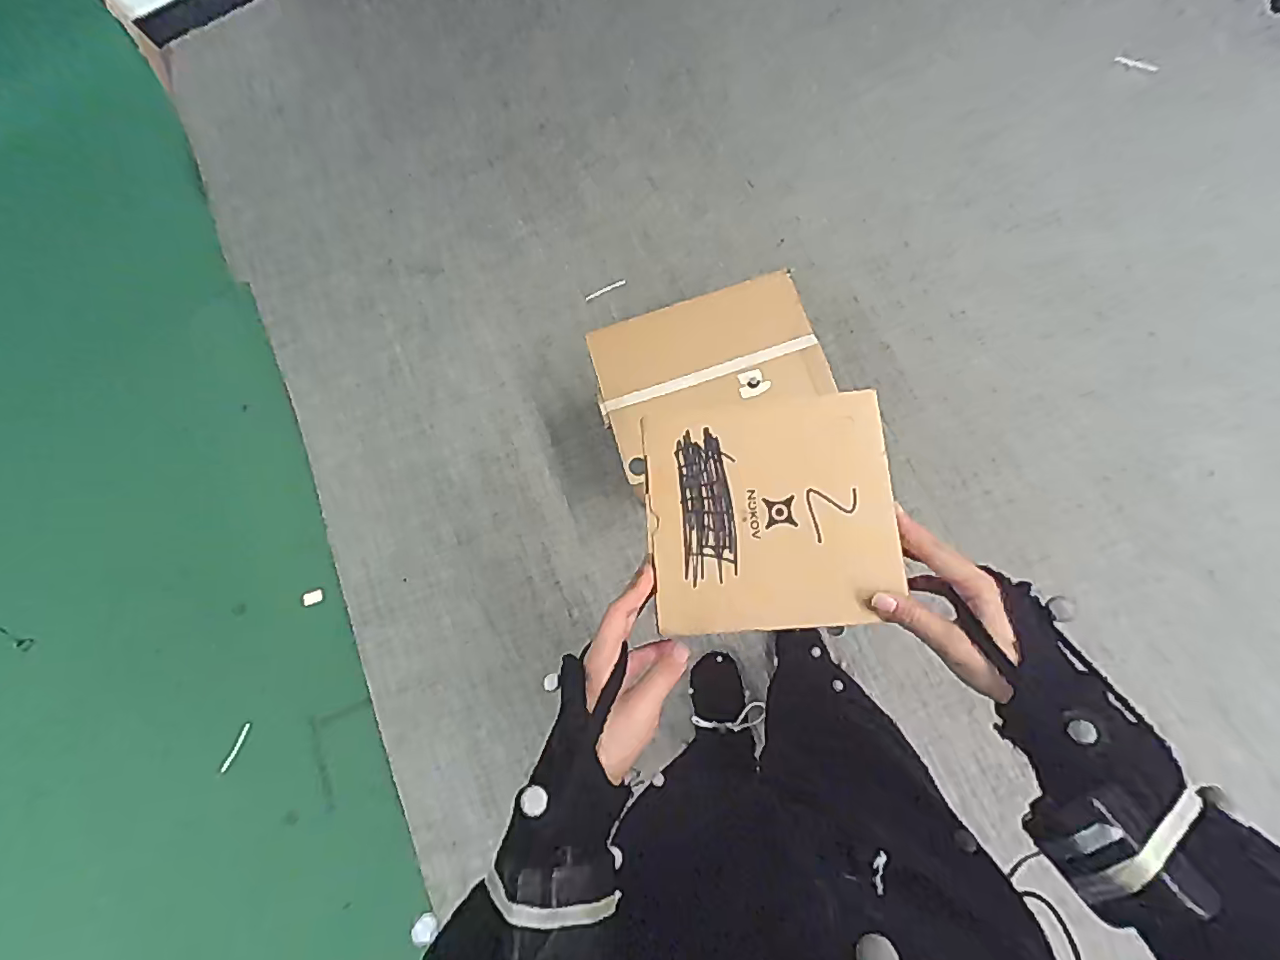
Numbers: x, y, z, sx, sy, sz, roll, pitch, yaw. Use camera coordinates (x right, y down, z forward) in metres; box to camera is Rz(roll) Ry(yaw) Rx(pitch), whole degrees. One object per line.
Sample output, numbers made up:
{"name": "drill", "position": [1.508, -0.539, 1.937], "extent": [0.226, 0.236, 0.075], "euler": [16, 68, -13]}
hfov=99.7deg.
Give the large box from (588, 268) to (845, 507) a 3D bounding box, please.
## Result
{"name": "large box", "position": [0.146, -0.166, 1.134], "extent": [0.408, 0.320, 0.320], "euler": [-18, 78, 2]}
